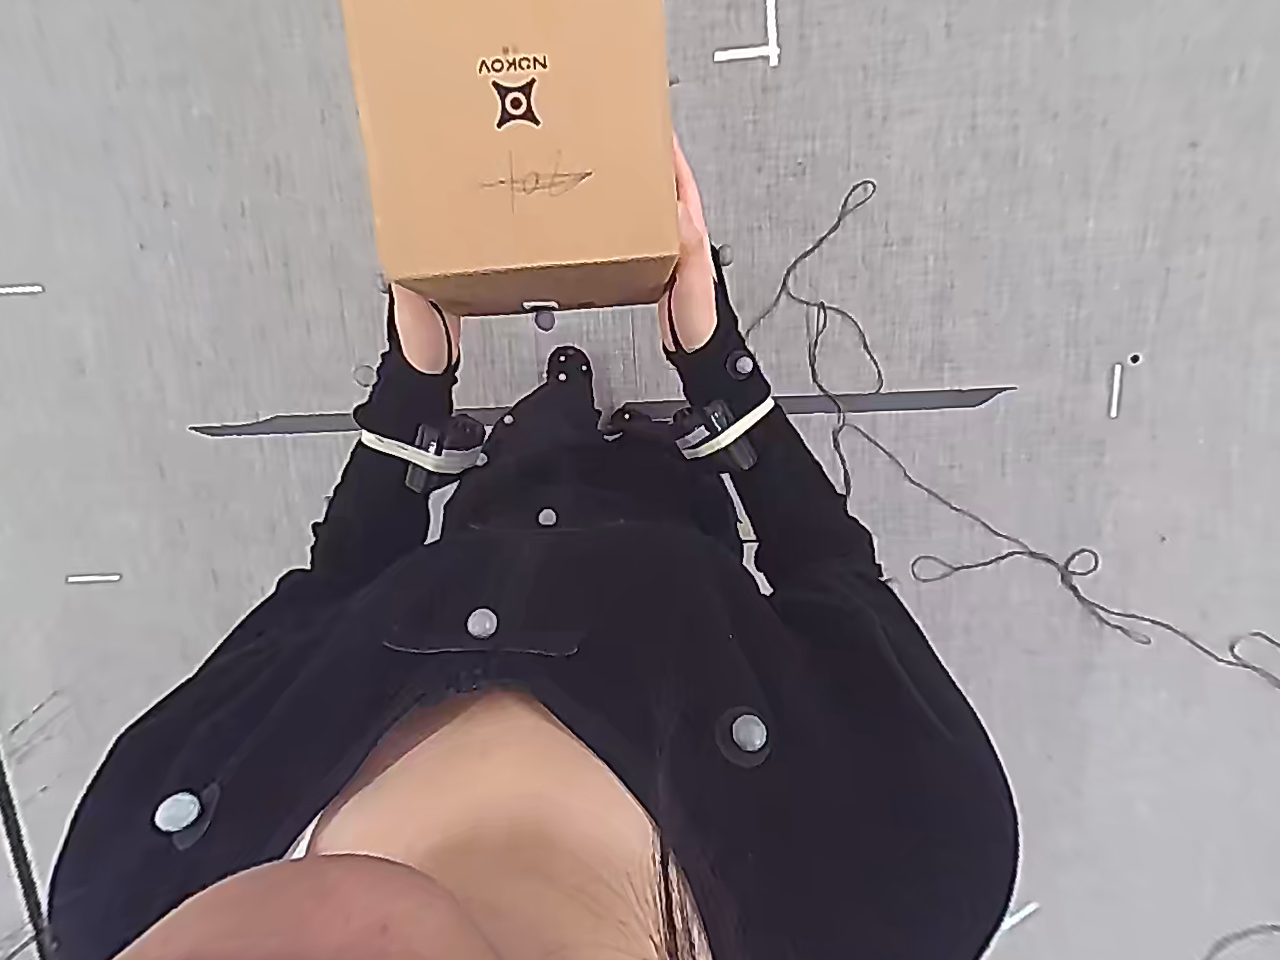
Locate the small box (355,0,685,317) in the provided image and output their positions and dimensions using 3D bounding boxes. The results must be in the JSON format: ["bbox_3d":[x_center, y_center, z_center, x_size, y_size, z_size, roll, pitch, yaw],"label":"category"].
[{"bbox_3d":[-0.066,-0.217,0.368,0.168,0.176,0.179,-6,100,-1],"label":"small box"}]
